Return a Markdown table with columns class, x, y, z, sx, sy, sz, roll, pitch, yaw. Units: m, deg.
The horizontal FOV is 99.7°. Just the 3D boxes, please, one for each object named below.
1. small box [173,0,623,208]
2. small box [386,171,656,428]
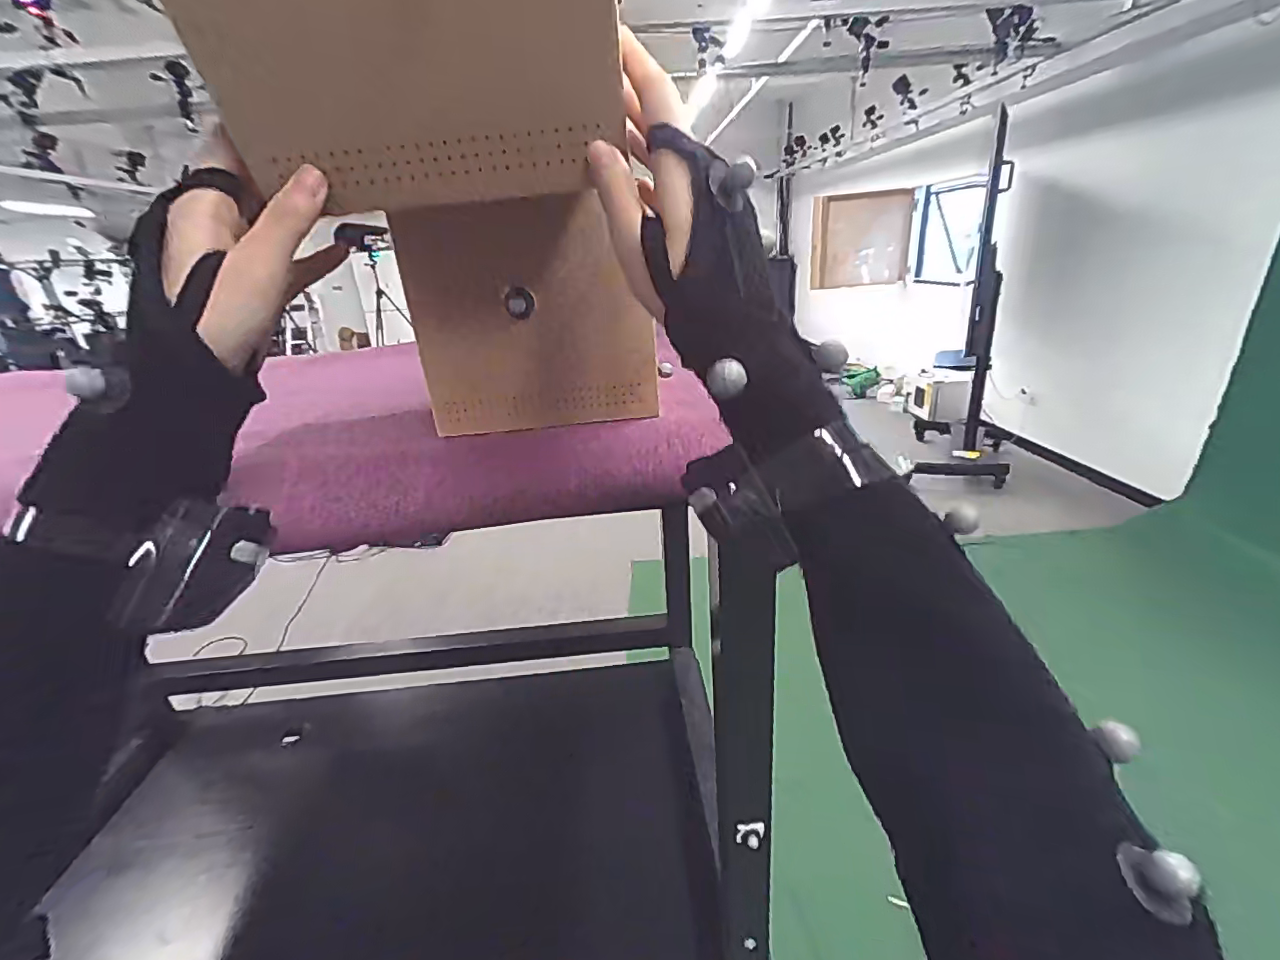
| class | x | y | z | sx | sy | sz | roll | pitch | yaw |
| --- | --- | --- | --- | --- | --- | --- | --- | --- | --- |
| small box | -0.101 | -0.252 | 0.259 | 0.179 | 0.176 | 0.168 | -7 | 47 | -2 |
| small box | -0.079 | -0.151 | 0.461 | 0.179 | 0.176 | 0.168 | -6 | 22 | -1 |
